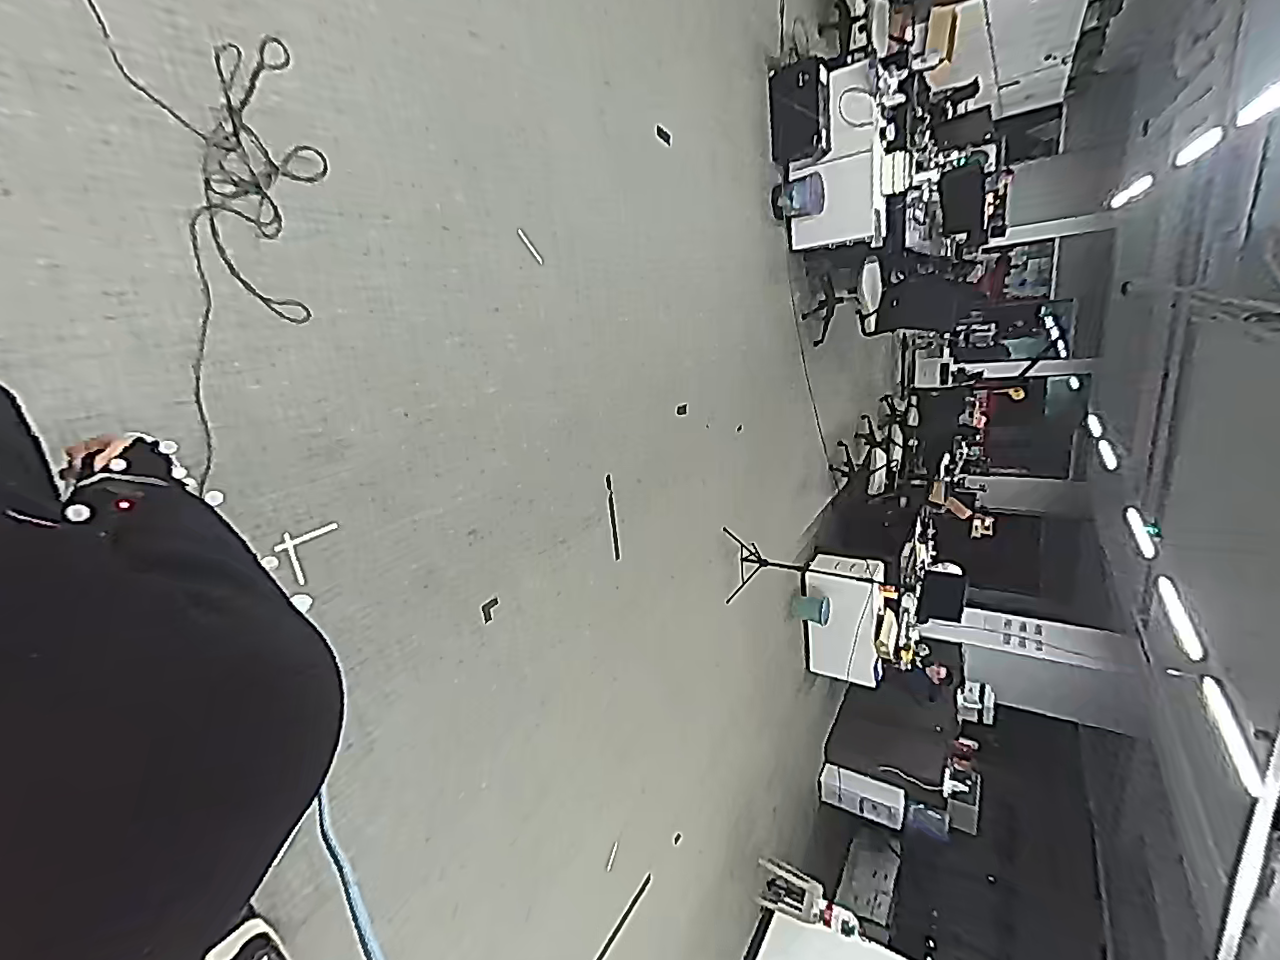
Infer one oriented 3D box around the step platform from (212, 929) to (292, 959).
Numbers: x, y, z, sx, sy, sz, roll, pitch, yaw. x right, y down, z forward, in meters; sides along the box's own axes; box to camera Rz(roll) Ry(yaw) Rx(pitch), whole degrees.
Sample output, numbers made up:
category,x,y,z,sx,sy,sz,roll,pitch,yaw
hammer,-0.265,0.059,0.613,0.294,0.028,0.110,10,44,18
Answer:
category,x,y,z,sx,sy,sz,roll,pitch,yaw
step platform,-0.991,1.250,0.996,0.684,0.204,0.286,-21,109,-52
